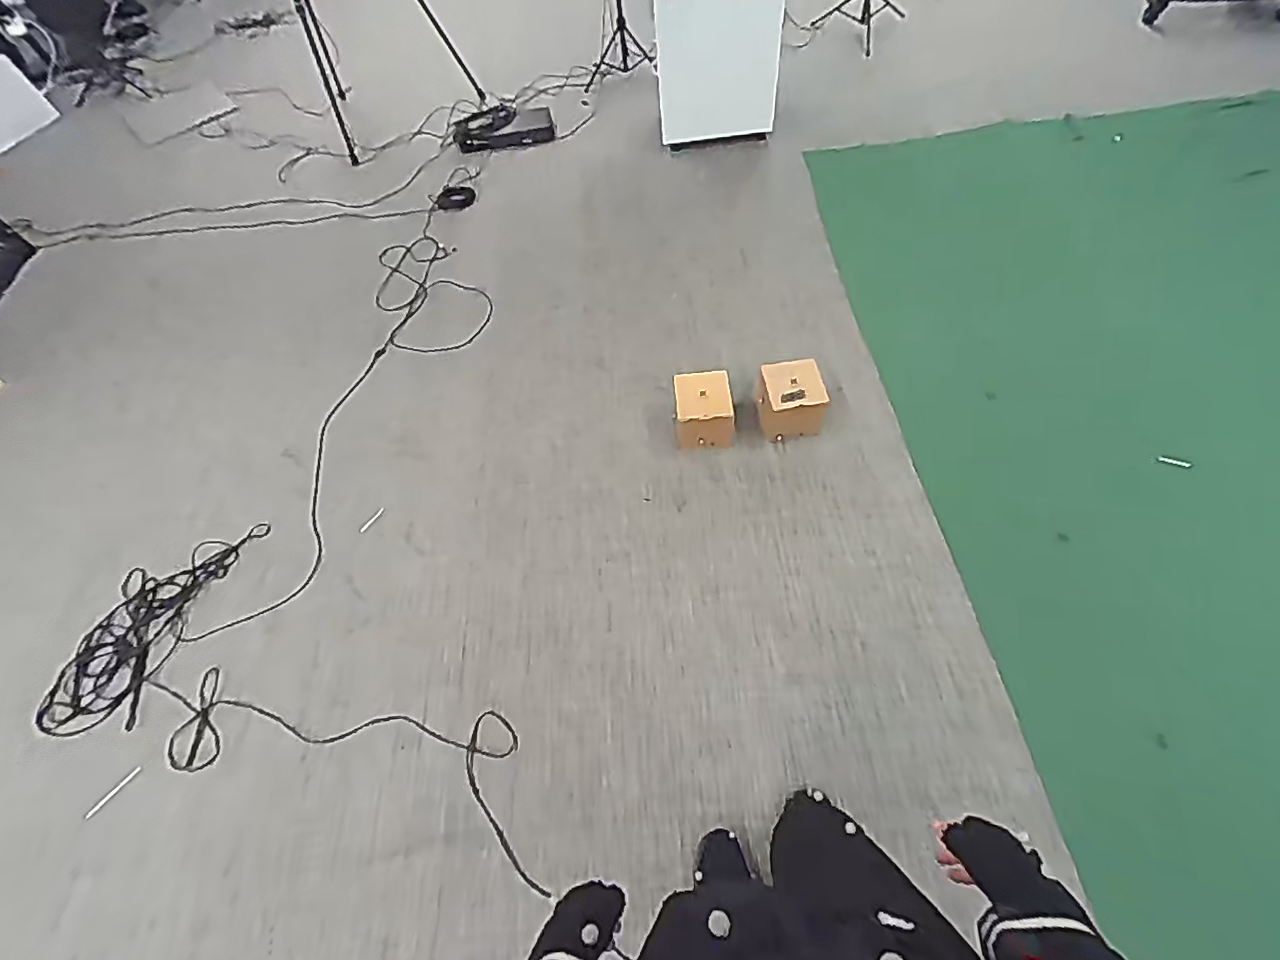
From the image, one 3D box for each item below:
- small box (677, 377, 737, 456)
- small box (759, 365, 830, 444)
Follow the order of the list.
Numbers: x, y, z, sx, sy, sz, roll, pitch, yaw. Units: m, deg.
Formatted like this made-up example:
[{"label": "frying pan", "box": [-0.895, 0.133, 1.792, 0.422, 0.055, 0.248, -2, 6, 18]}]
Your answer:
[{"label": "small box", "box": [0.203, -0.196, 1.680, 0.168, 0.176, 0.179, -5, 59, 3]}, {"label": "small box", "box": [0.470, -0.226, 1.666, 0.168, 0.176, 0.179, -8, 58, 2]}]
